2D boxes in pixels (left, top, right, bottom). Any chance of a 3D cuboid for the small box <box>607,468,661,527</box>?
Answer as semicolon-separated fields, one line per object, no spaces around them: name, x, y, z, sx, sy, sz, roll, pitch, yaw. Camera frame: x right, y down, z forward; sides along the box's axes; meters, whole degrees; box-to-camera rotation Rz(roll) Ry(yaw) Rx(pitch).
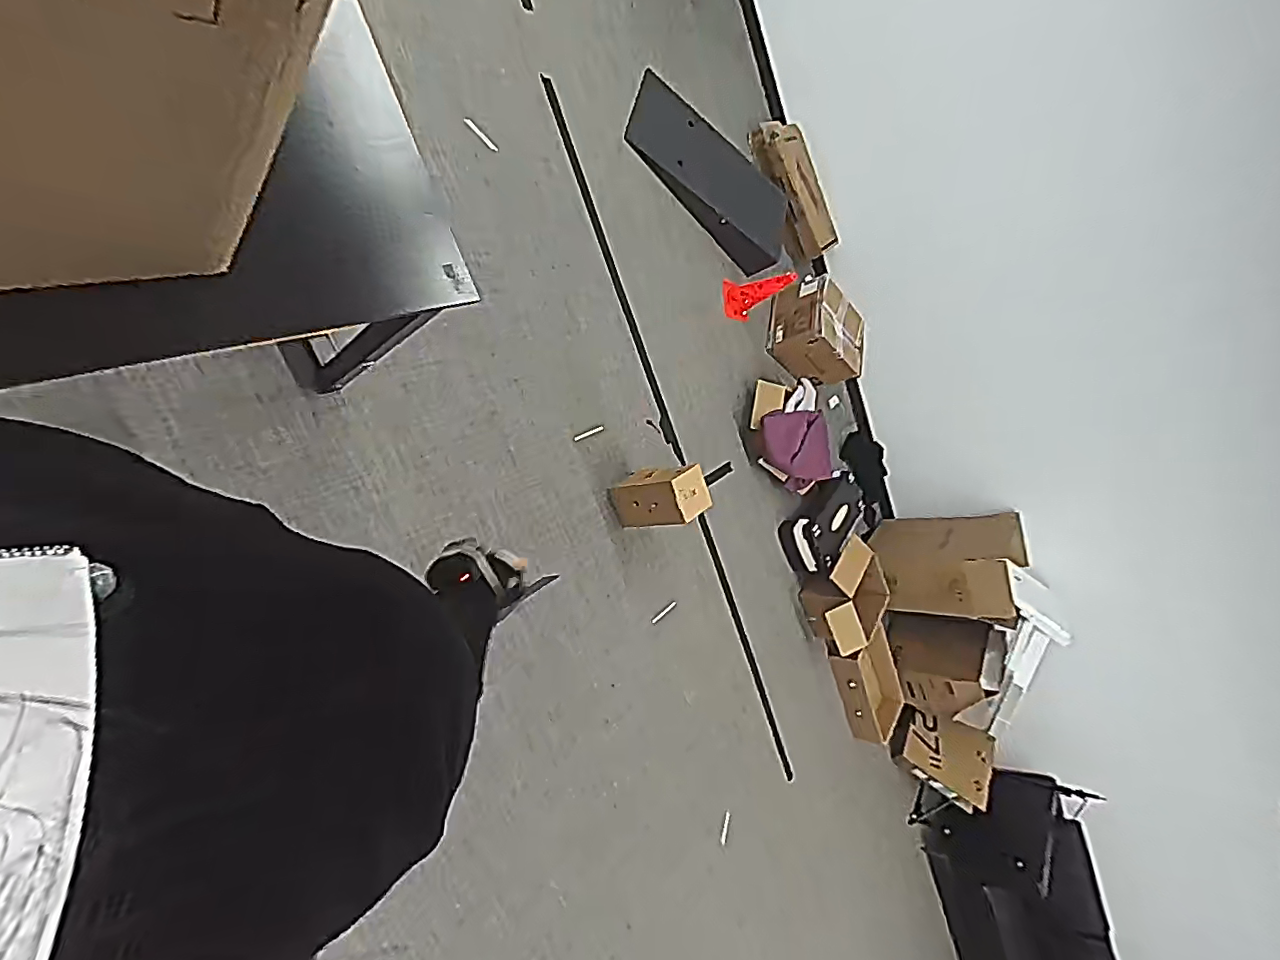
small box;-0.002;0.074;2.088;0.168;0.176;0.179;-35;109;-42

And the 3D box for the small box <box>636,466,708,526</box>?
small box;0.117;0.060;1.974;0.179;0.176;0.168;-30;105;-43
